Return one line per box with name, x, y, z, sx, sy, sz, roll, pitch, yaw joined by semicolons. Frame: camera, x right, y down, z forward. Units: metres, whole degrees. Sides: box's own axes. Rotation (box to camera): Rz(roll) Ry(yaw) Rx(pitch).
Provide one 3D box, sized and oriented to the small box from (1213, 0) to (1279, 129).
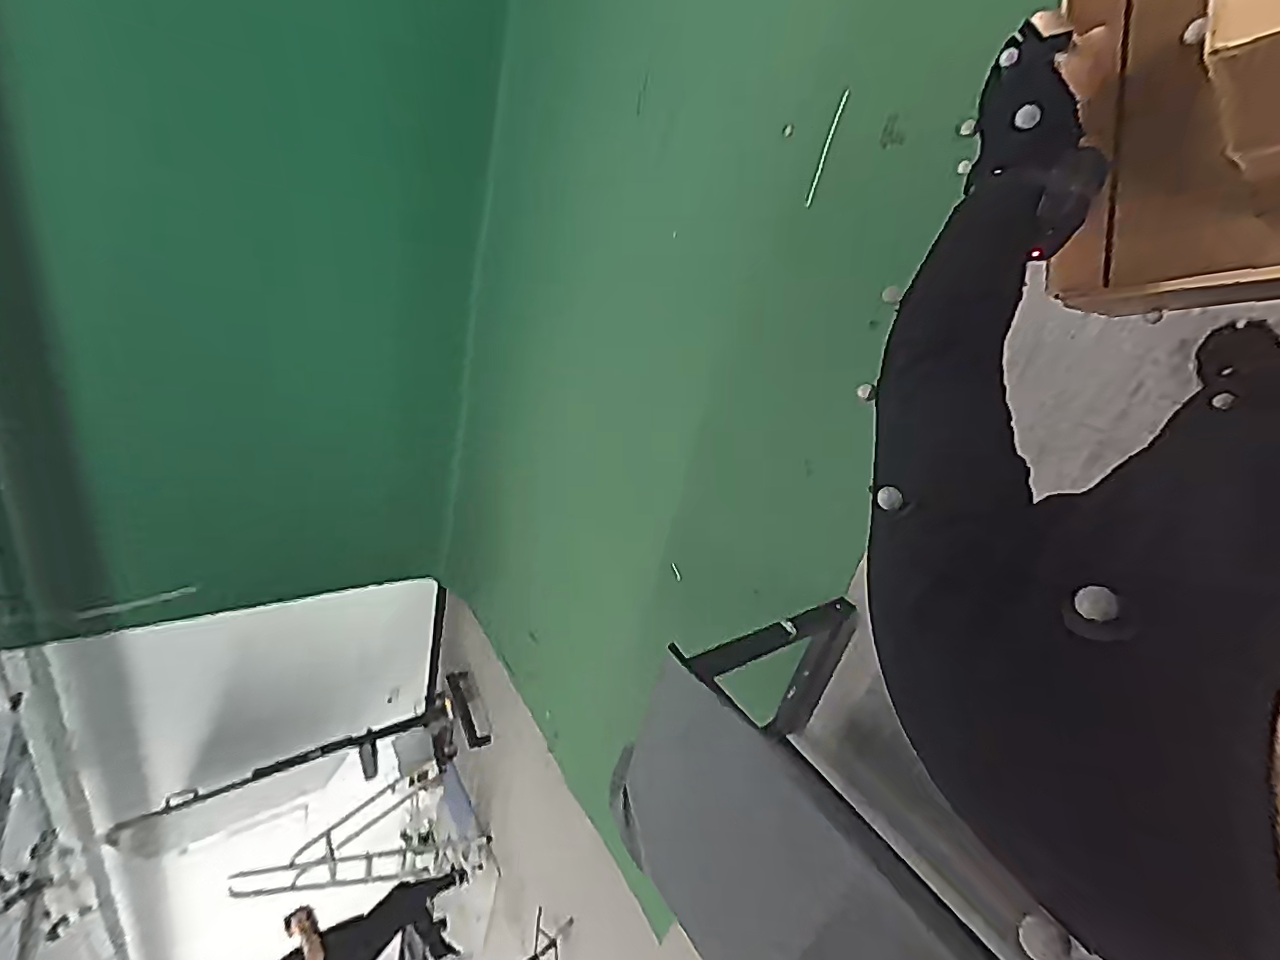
small box;0.379;-0.284;0.225;0.179;0.176;0.168;6;102;48
